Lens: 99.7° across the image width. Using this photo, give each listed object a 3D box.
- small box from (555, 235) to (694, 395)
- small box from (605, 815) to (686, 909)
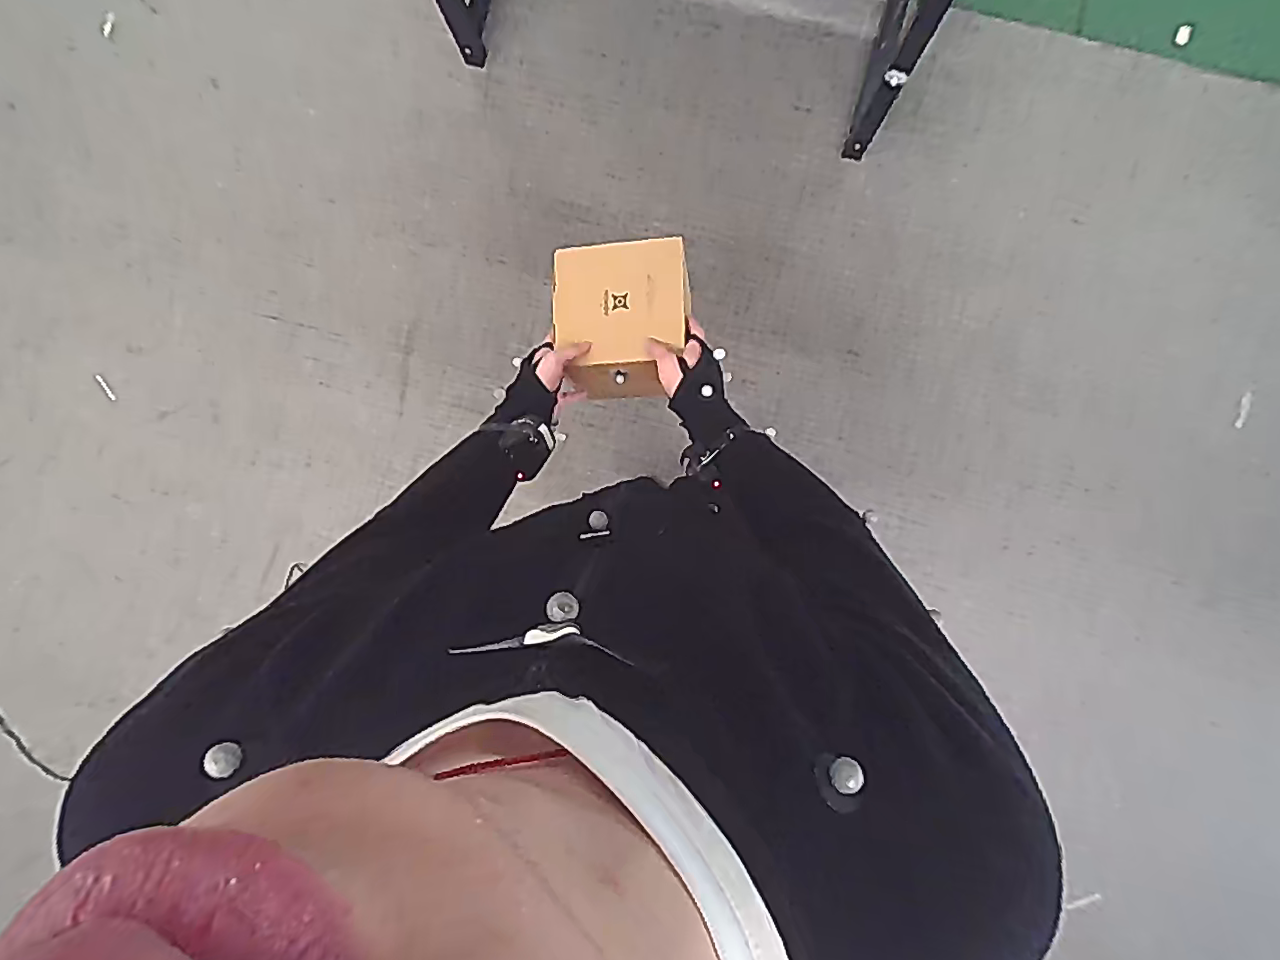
[{"bbox_3d":[-0.016,-0.227,0.787,0.179,0.176,0.168,-3,84,7],"label":"small box"},{"bbox_3d":[0.018,1.063,1.483,0.179,0.176,0.168,17,91,2],"label":"small box"}]
